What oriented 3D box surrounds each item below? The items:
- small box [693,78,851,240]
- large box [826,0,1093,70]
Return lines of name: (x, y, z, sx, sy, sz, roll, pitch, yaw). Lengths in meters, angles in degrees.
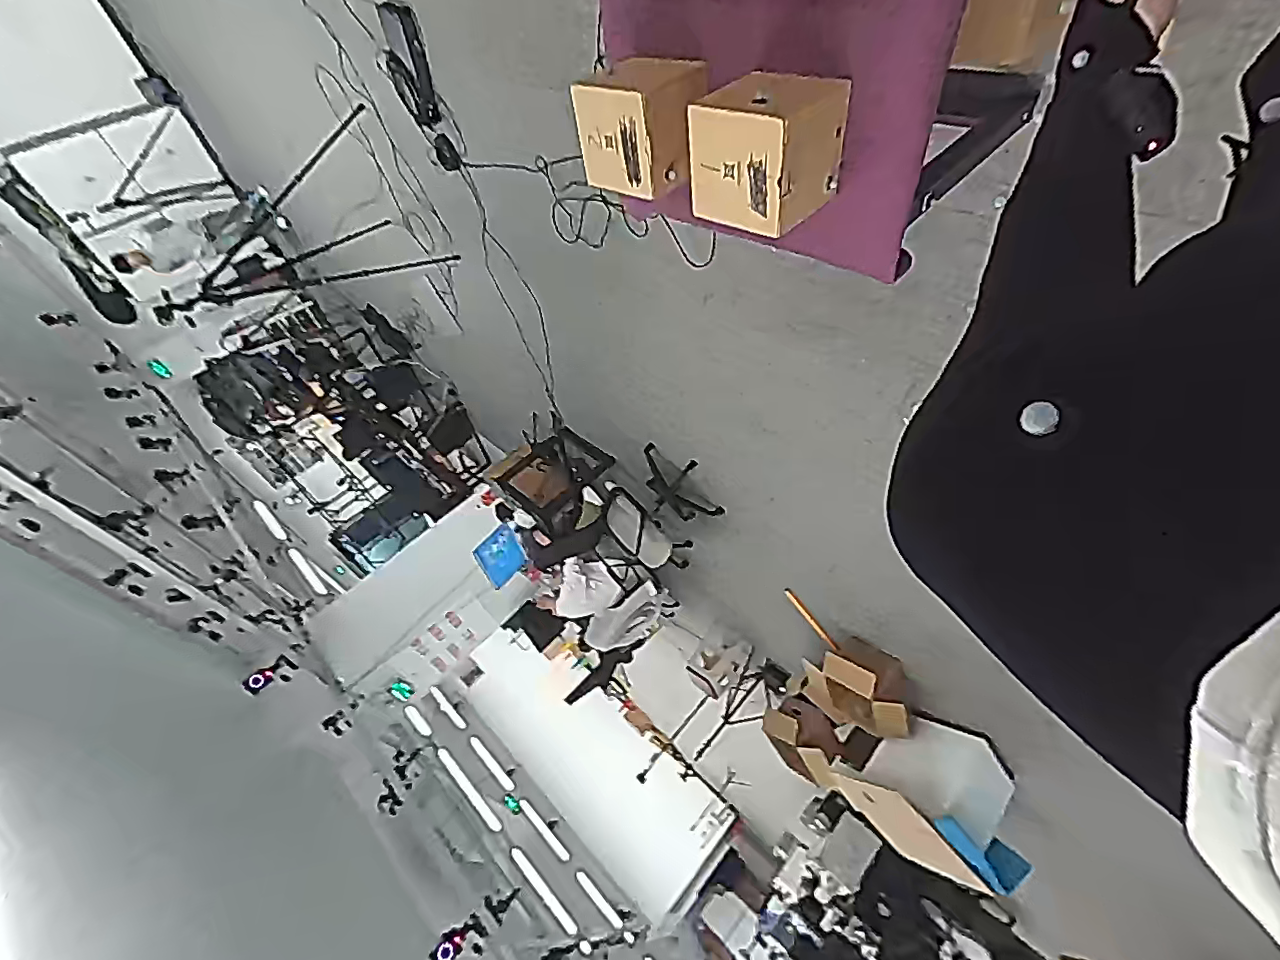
small box: (0.207, -0.513, 0.857, 0.179, 0.176, 0.168, 35, 152, 32)
large box: (0.629, -1.018, 1.025, 0.408, 0.320, 0.320, 34, 151, 33)
